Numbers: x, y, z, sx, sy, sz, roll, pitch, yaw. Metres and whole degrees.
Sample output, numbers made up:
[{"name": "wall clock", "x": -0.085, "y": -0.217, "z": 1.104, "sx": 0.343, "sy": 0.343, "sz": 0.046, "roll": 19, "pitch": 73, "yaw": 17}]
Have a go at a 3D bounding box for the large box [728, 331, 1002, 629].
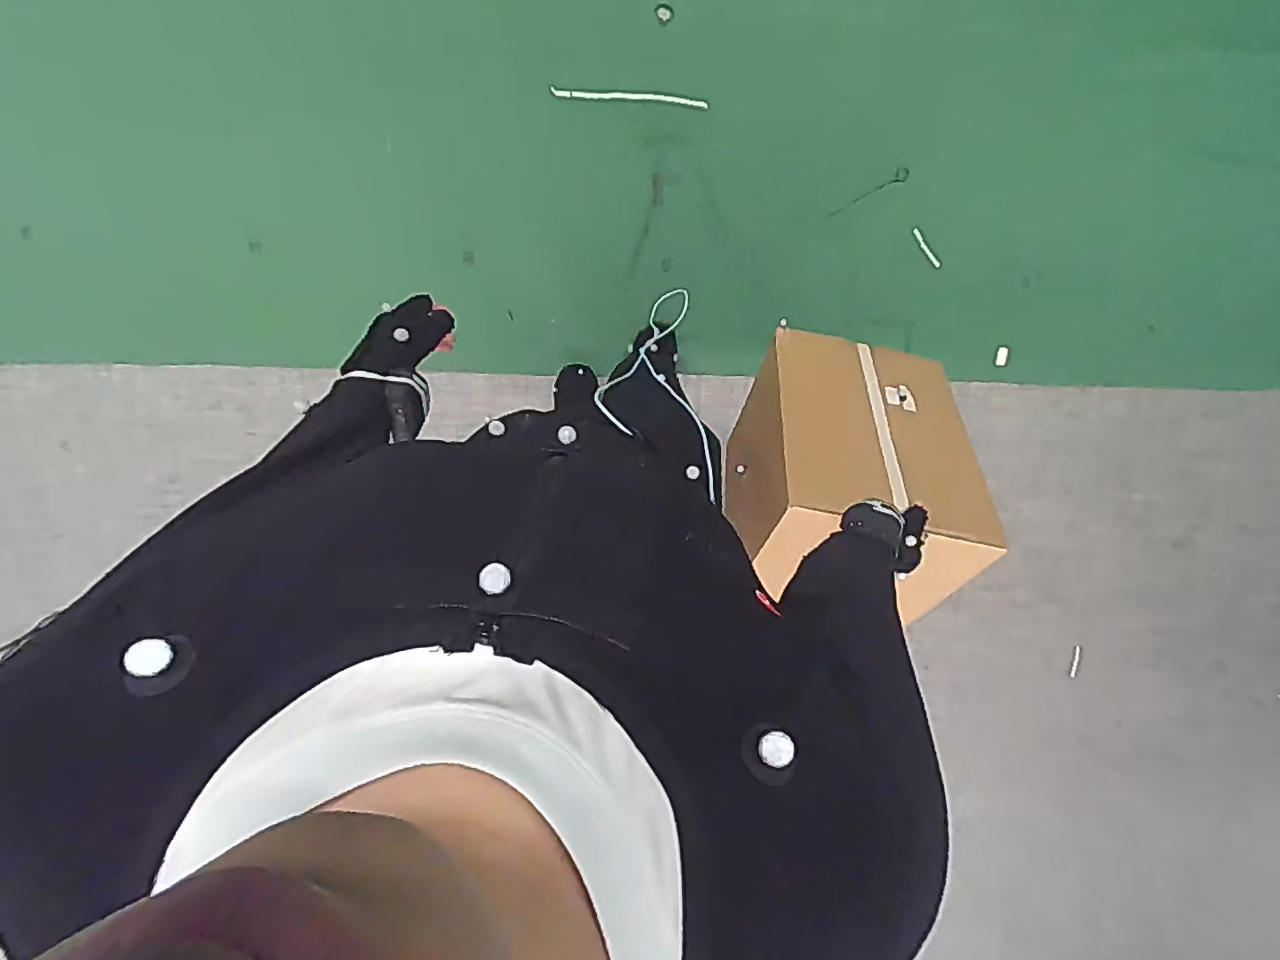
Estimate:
[{"name": "large box", "x": 0.347, "y": 0.003, "z": 0.970, "sx": 0.320, "sy": 0.408, "sz": 0.320, "roll": 12, "pitch": 140, "yaw": -4}]
